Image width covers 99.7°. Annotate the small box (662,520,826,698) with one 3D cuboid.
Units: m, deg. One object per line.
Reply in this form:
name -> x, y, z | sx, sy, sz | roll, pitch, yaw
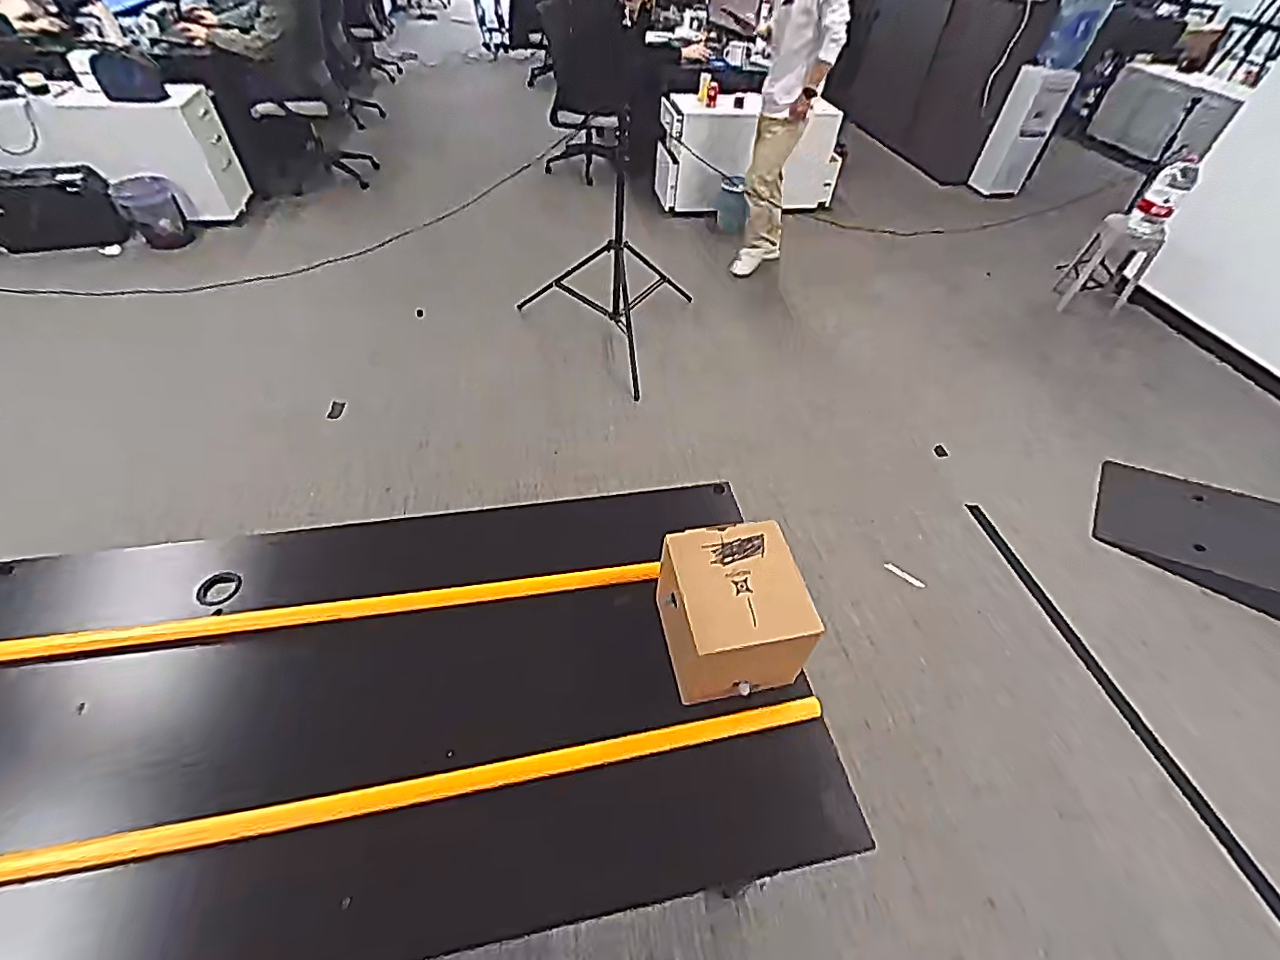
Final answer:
small box -> 0.131, 0.183, 0.767 | 0.168, 0.176, 0.179 | -7, 49, -9
